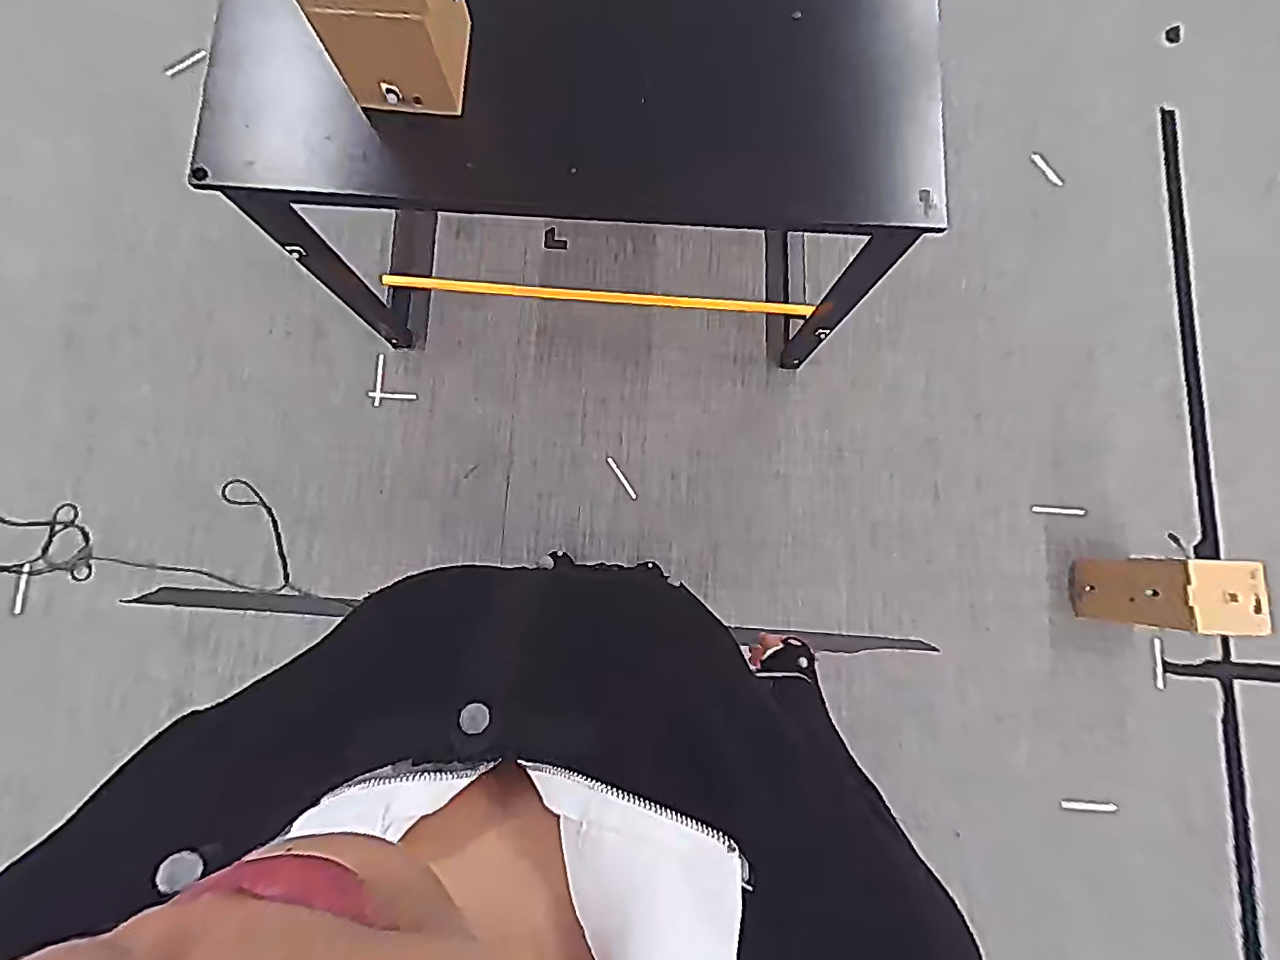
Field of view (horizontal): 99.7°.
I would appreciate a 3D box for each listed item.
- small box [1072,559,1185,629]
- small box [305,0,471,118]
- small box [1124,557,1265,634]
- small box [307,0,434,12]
[{"bbox_3d":[1.321,0.301,1.461,0.179,0.176,0.168,4,82,-1],"label":"small box"},{"bbox_3d":[-0.361,-0.690,0.809,0.168,0.176,0.179,3,83,-1],"label":"small box"},{"bbox_3d":[1.315,0.272,1.299,0.179,0.176,0.168,2,82,-1],"label":"small box"},{"bbox_3d":[-0.356,-0.711,0.646,0.179,0.176,0.168,2,82,-2],"label":"small box"}]
